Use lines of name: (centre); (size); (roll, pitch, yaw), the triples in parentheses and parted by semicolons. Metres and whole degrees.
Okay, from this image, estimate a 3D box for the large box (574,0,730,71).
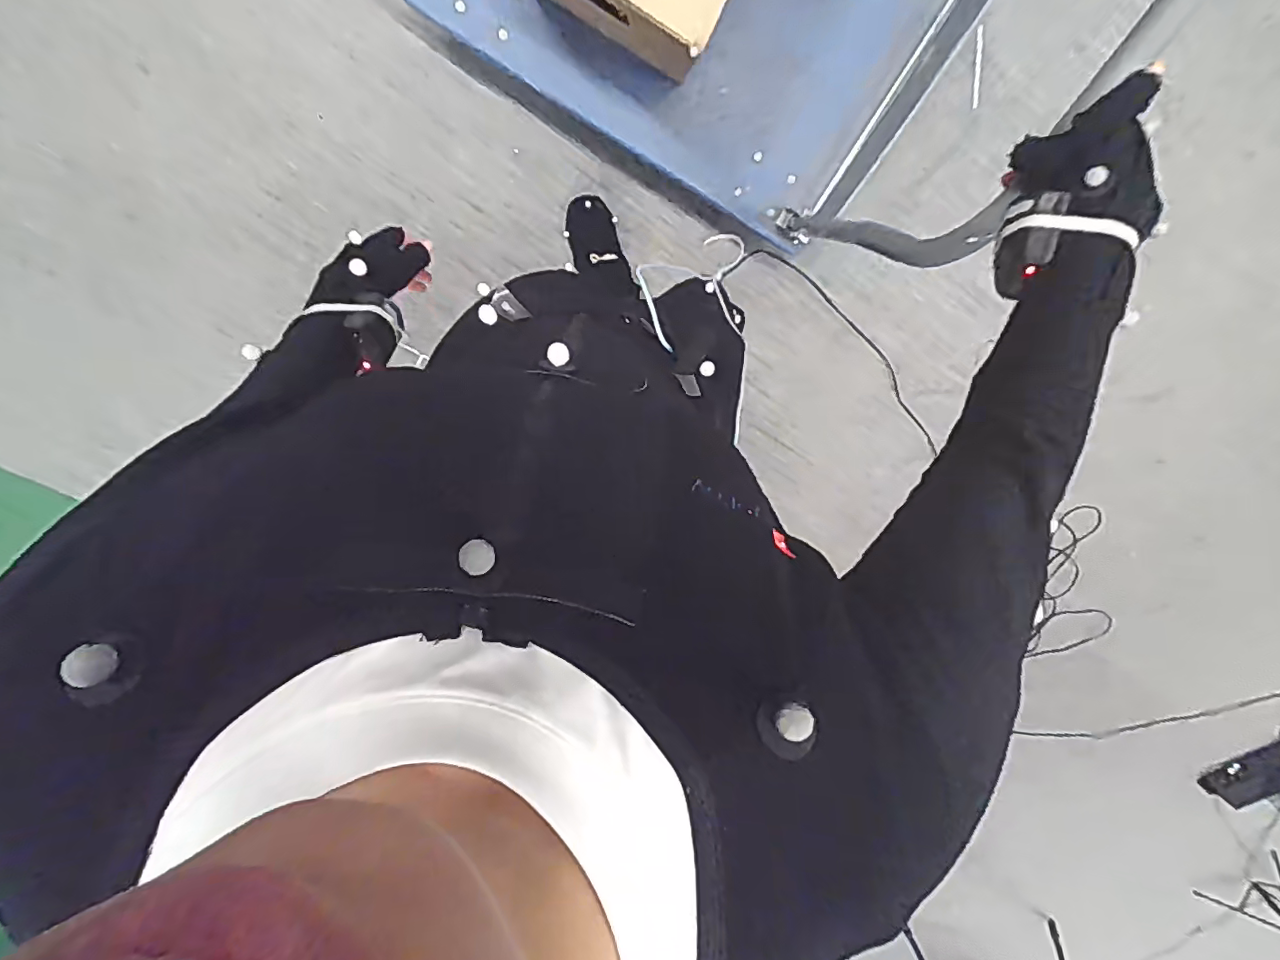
large box: (0.042, -0.870, 0.728); (0.320, 0.320, 0.408); (24, 118, -13)
